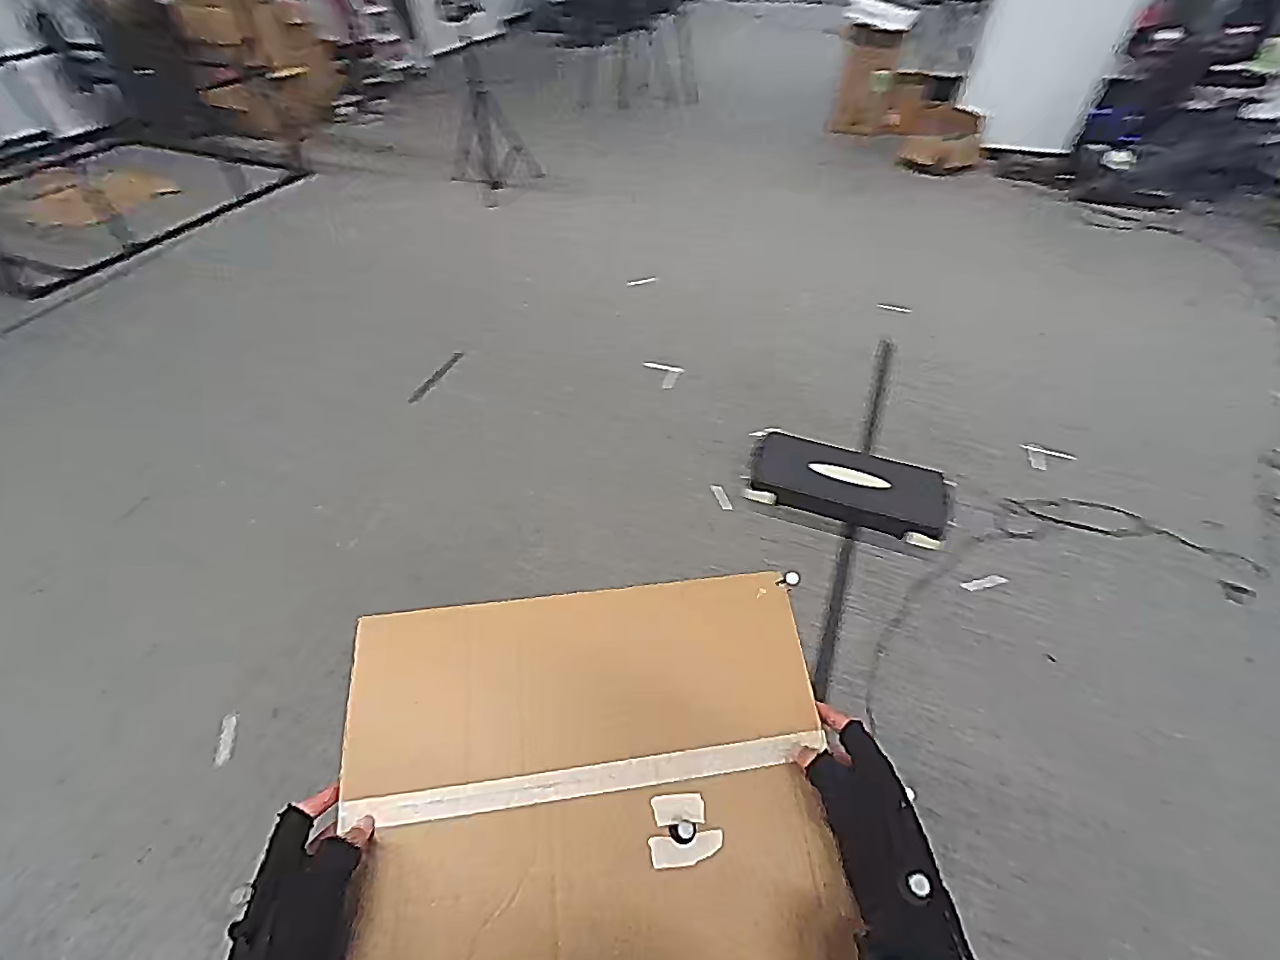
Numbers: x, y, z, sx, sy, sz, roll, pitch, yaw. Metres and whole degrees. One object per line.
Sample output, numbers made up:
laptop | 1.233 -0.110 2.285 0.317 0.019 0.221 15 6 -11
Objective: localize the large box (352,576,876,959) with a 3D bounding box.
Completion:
large box | -0.038 0.316 0.596 0.408 0.320 0.320 -4 64 -6
